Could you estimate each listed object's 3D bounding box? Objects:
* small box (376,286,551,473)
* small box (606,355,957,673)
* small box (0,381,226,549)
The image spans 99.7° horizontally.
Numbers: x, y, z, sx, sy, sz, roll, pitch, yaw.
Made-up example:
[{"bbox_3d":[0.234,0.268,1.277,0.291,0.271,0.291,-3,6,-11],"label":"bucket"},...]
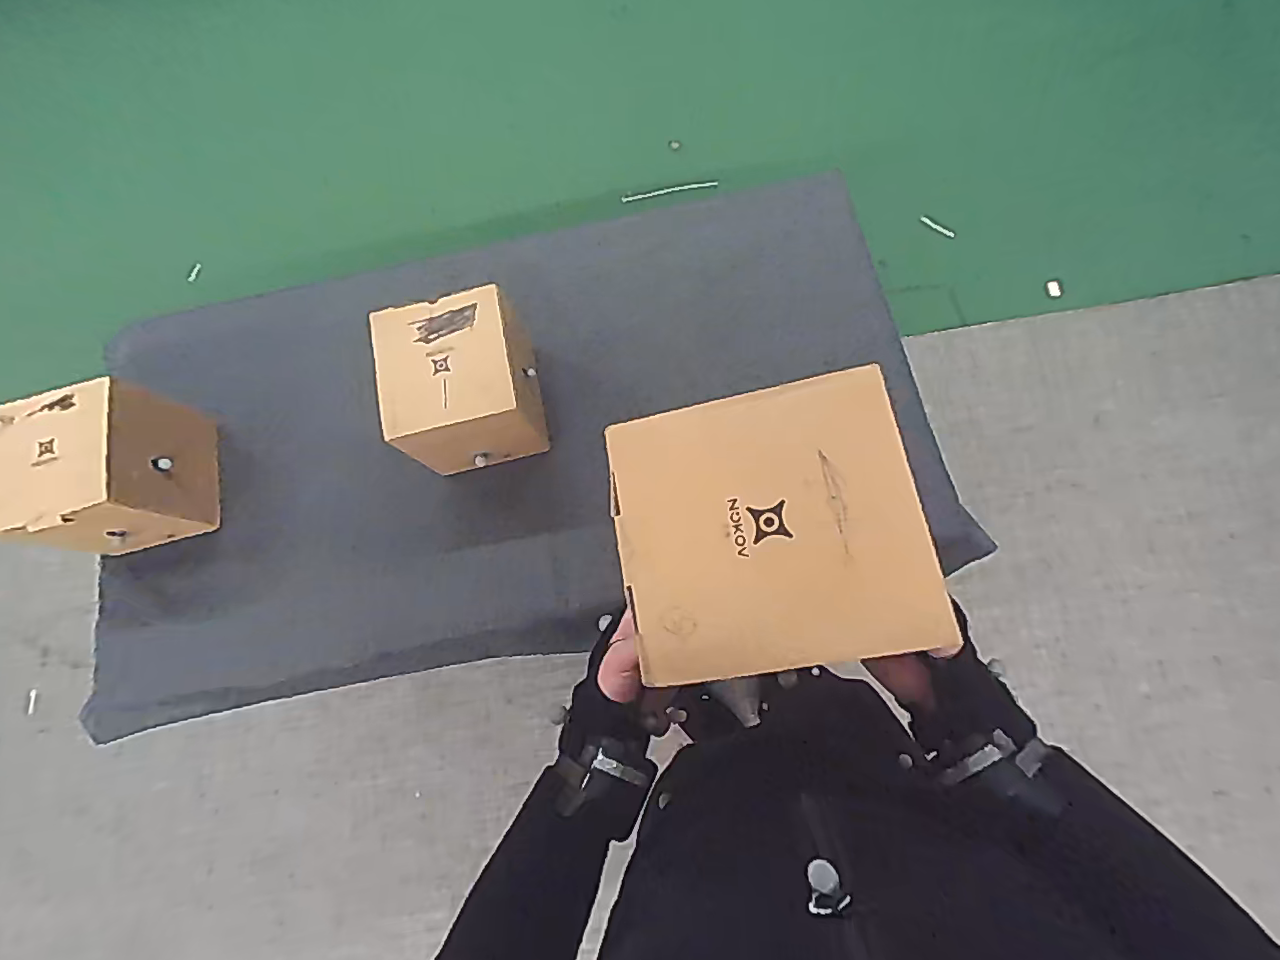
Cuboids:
[{"bbox_3d":[-0.230,-0.126,0.734,0.168,0.176,0.179,-13,76,2],"label":"small box"},{"bbox_3d":[0.090,0.037,0.396,0.179,0.176,0.168,-13,75,9],"label":"small box"},{"bbox_3d":[-0.716,-0.008,0.748,0.168,0.176,0.179,-15,75,1],"label":"small box"}]
